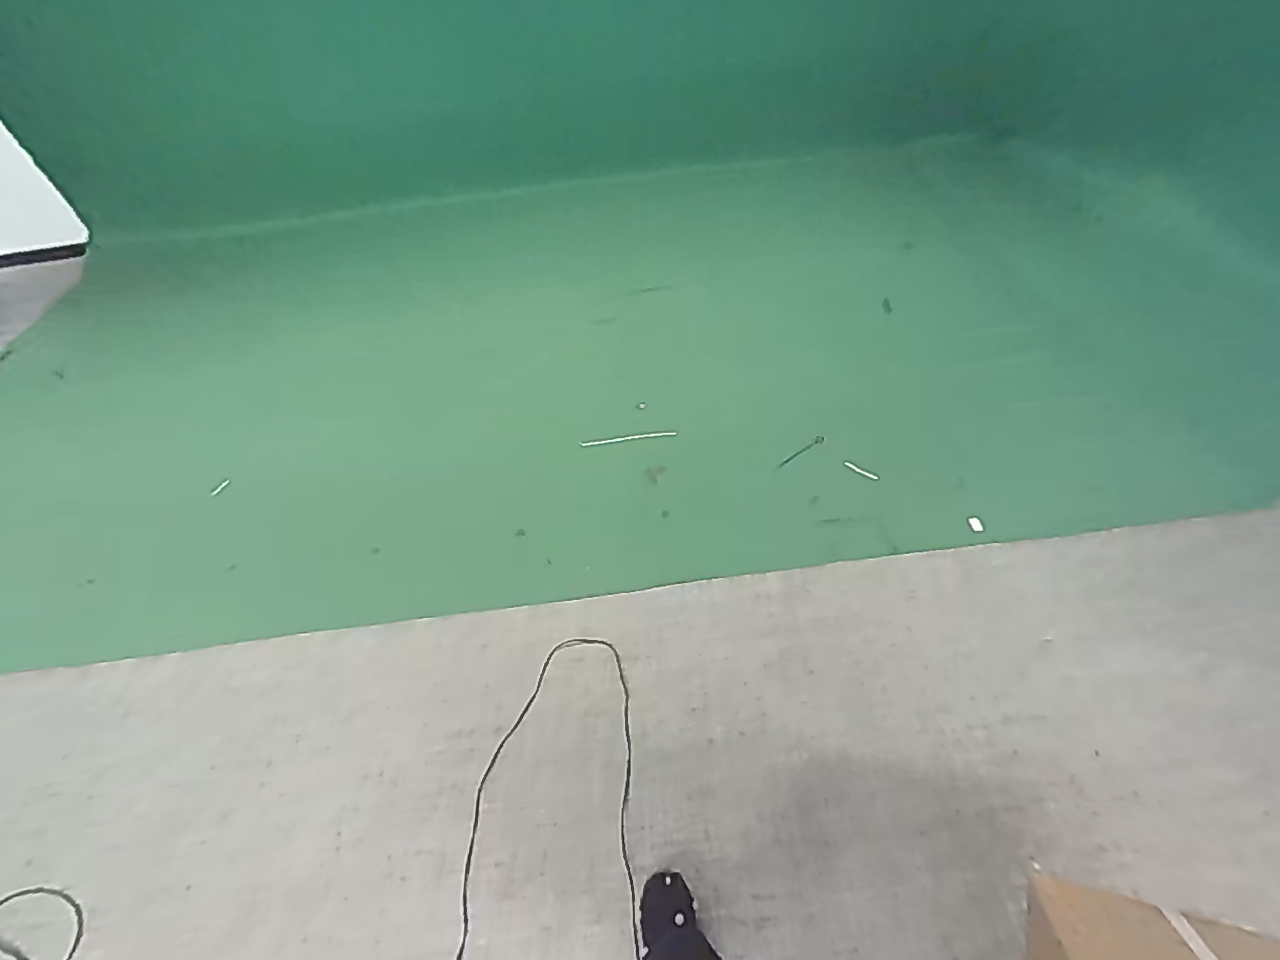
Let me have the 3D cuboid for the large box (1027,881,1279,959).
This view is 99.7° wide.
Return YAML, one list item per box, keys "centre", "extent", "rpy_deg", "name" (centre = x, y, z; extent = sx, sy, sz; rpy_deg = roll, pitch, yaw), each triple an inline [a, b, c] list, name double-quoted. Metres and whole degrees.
- centre: [0.621, 0.721, 0.538]
  extent: [0.320, 0.408, 0.320]
  rpy_deg: [5, 86, 23]
  name: "large box"
